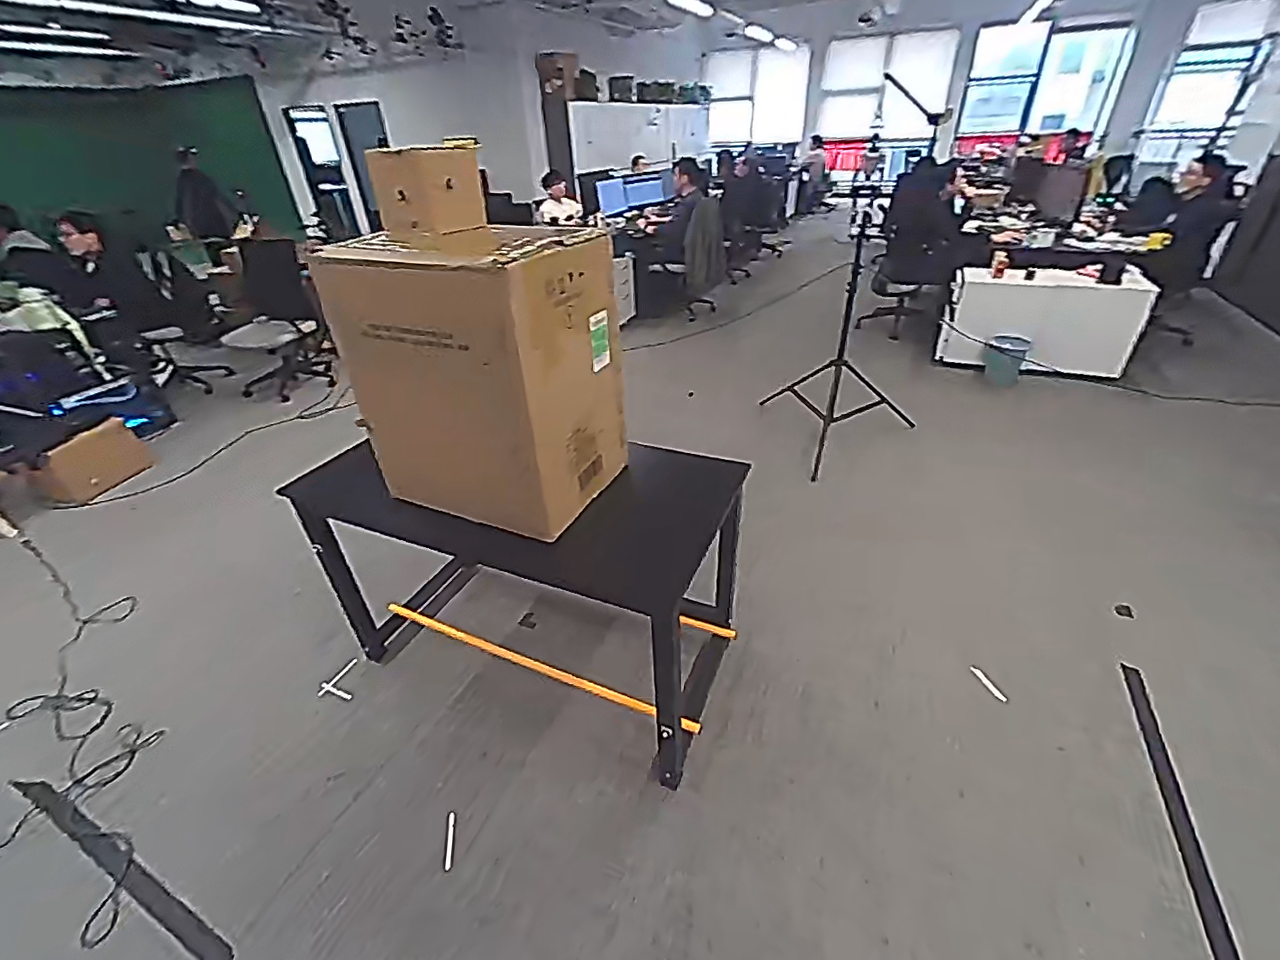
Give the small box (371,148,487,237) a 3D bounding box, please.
[{"bbox_3d":[-0.478,-0.667,1.255,0.168,0.176,0.179,14,35,23],"label":"small box"}]
